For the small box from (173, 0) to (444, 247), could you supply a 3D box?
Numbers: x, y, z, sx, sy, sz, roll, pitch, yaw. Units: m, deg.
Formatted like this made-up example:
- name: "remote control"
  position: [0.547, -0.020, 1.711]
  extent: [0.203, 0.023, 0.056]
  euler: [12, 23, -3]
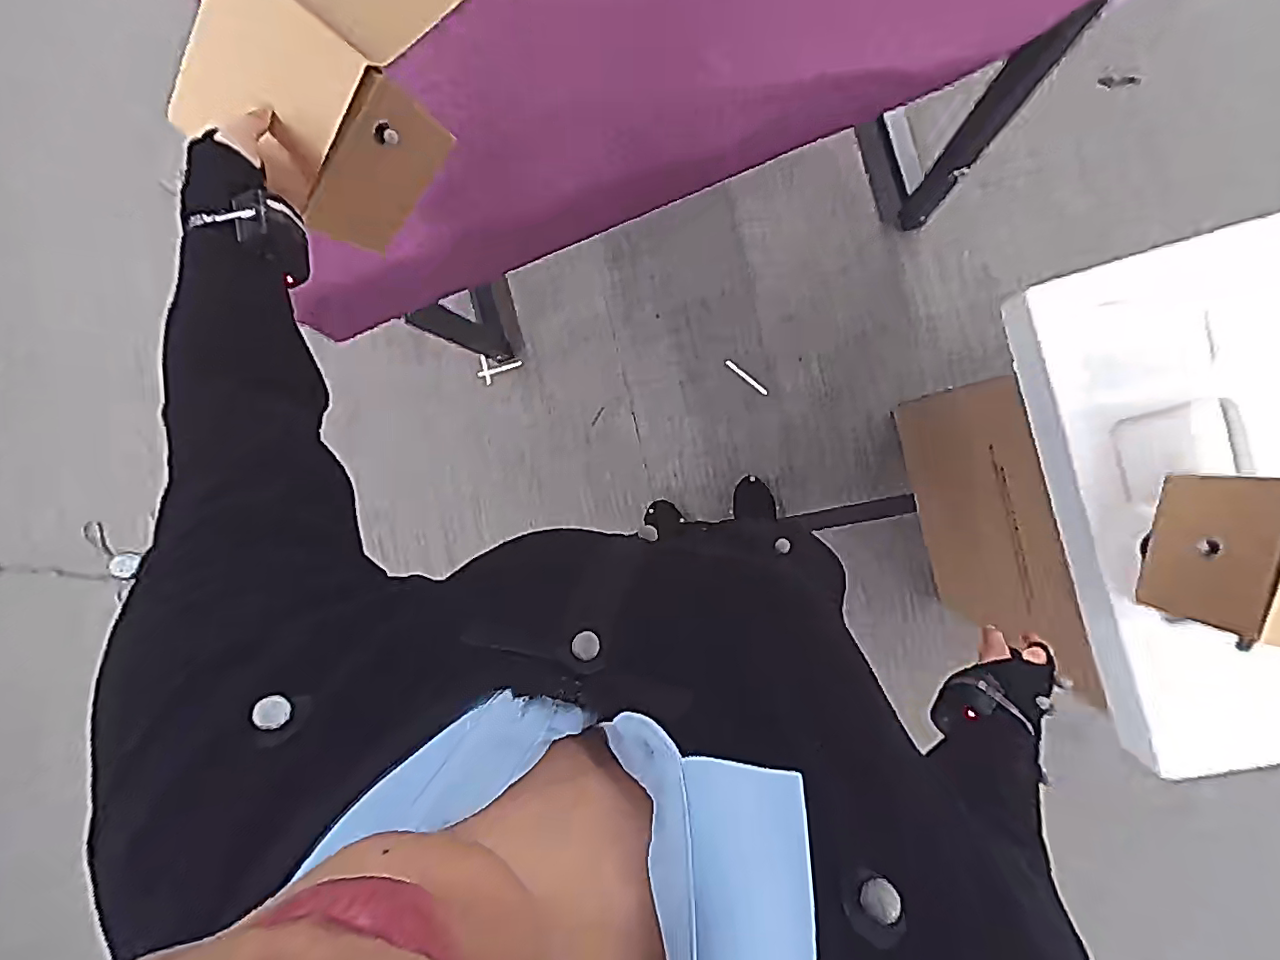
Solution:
- name: "small box"
  position: [-0.352, -0.400, 0.613]
  extent: [0.168, 0.176, 0.179]
  euler: [38, 103, -3]
